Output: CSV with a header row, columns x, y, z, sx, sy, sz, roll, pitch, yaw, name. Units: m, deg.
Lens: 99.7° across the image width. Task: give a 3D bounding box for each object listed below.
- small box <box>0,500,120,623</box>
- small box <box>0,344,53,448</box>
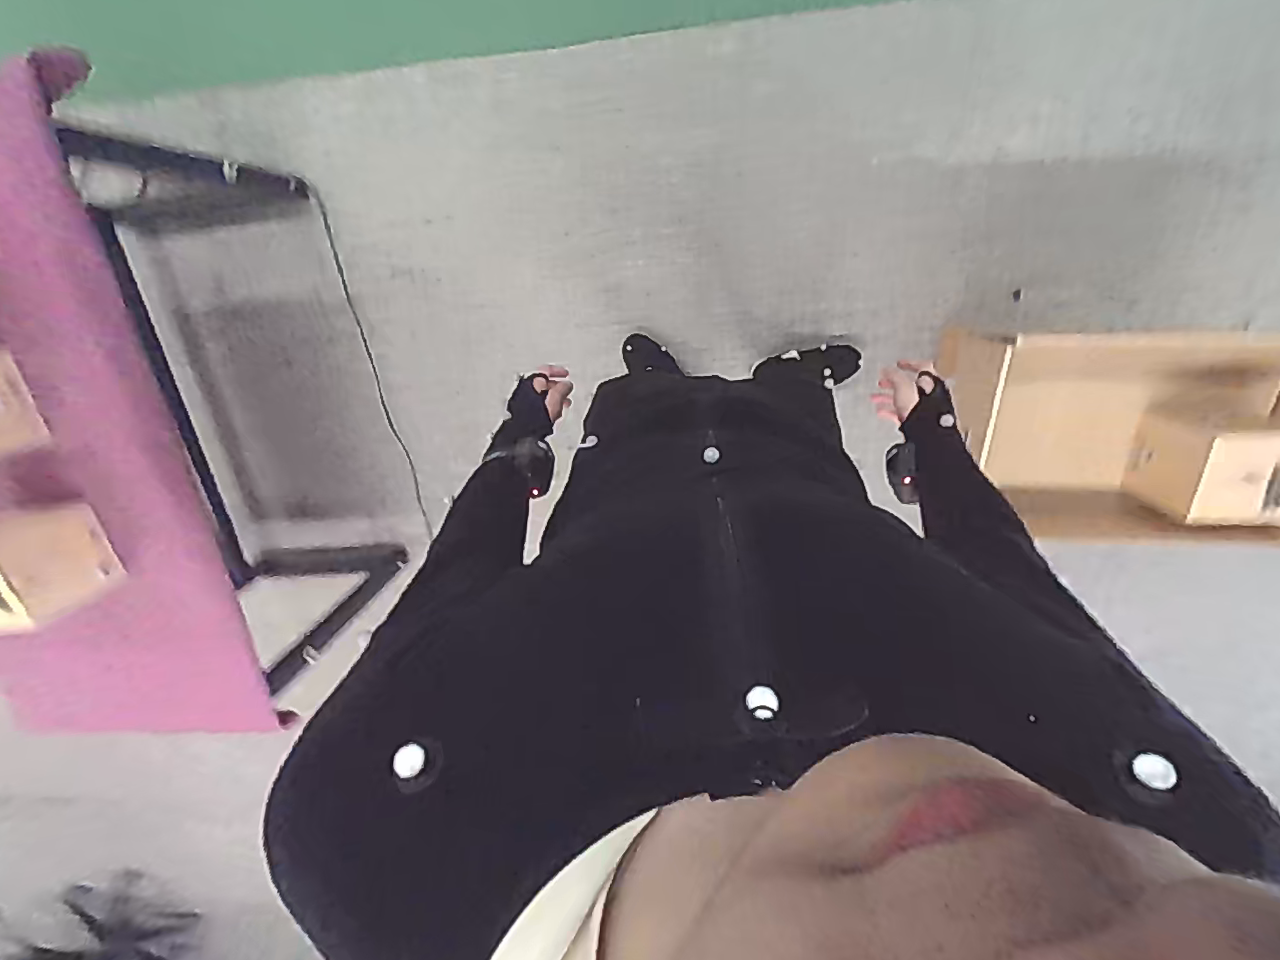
x,y,z,sx,sy,sz,roll,pitch,yaw,name
-1.110,0.143,0.980,0.179,0.176,0.168,-5,110,9,small box
-1.150,-0.126,0.884,0.179,0.176,0.168,-3,111,7,small box
